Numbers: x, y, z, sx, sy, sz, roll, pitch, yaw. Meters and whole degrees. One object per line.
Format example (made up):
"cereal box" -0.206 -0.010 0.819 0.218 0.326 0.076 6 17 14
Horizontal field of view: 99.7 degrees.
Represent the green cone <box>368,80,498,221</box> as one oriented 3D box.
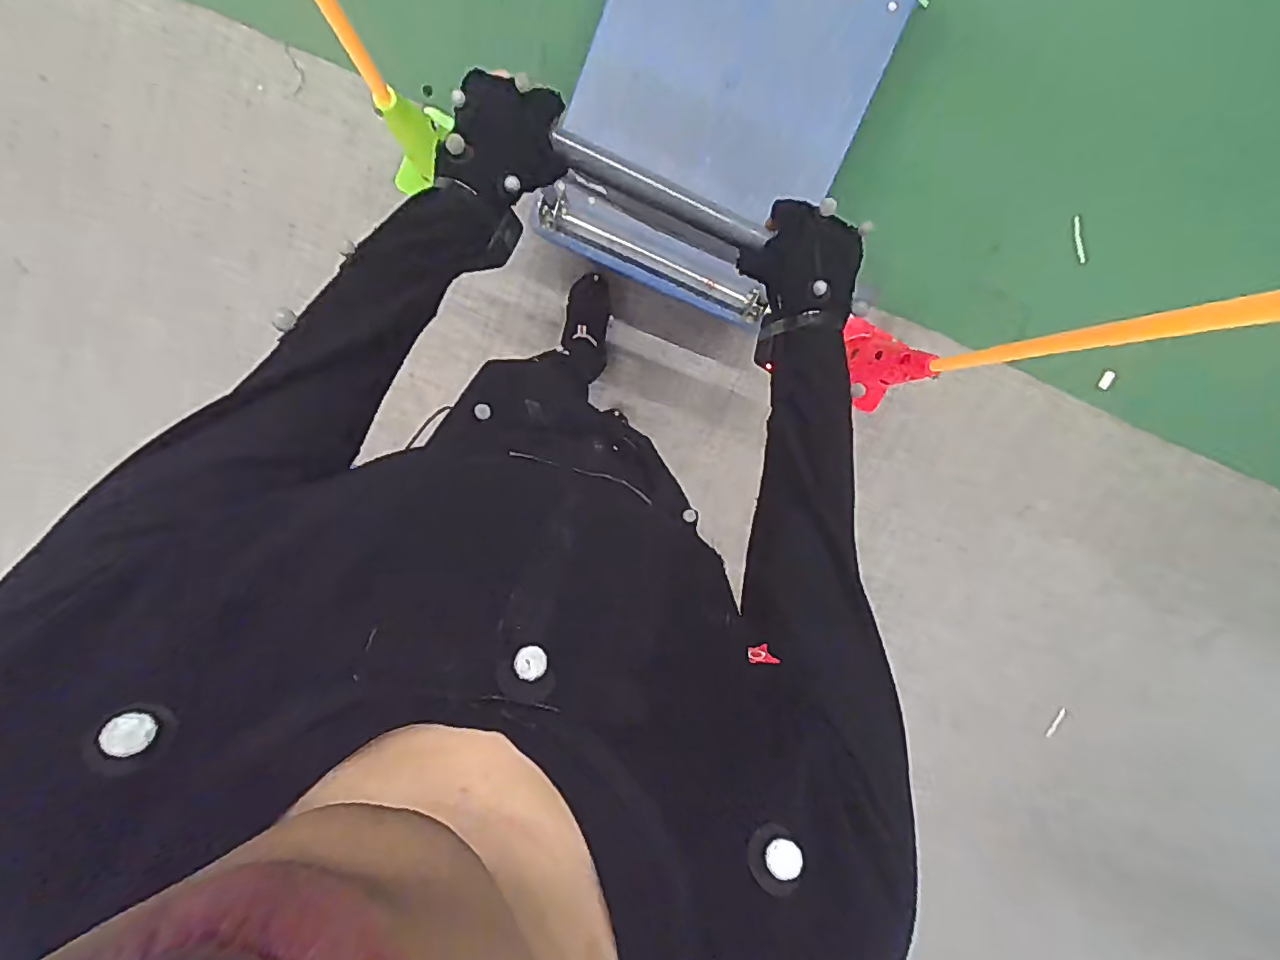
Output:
"green cone" -0.458 -0.720 1.125 0.202 0.368 0.200 26 100 -6
